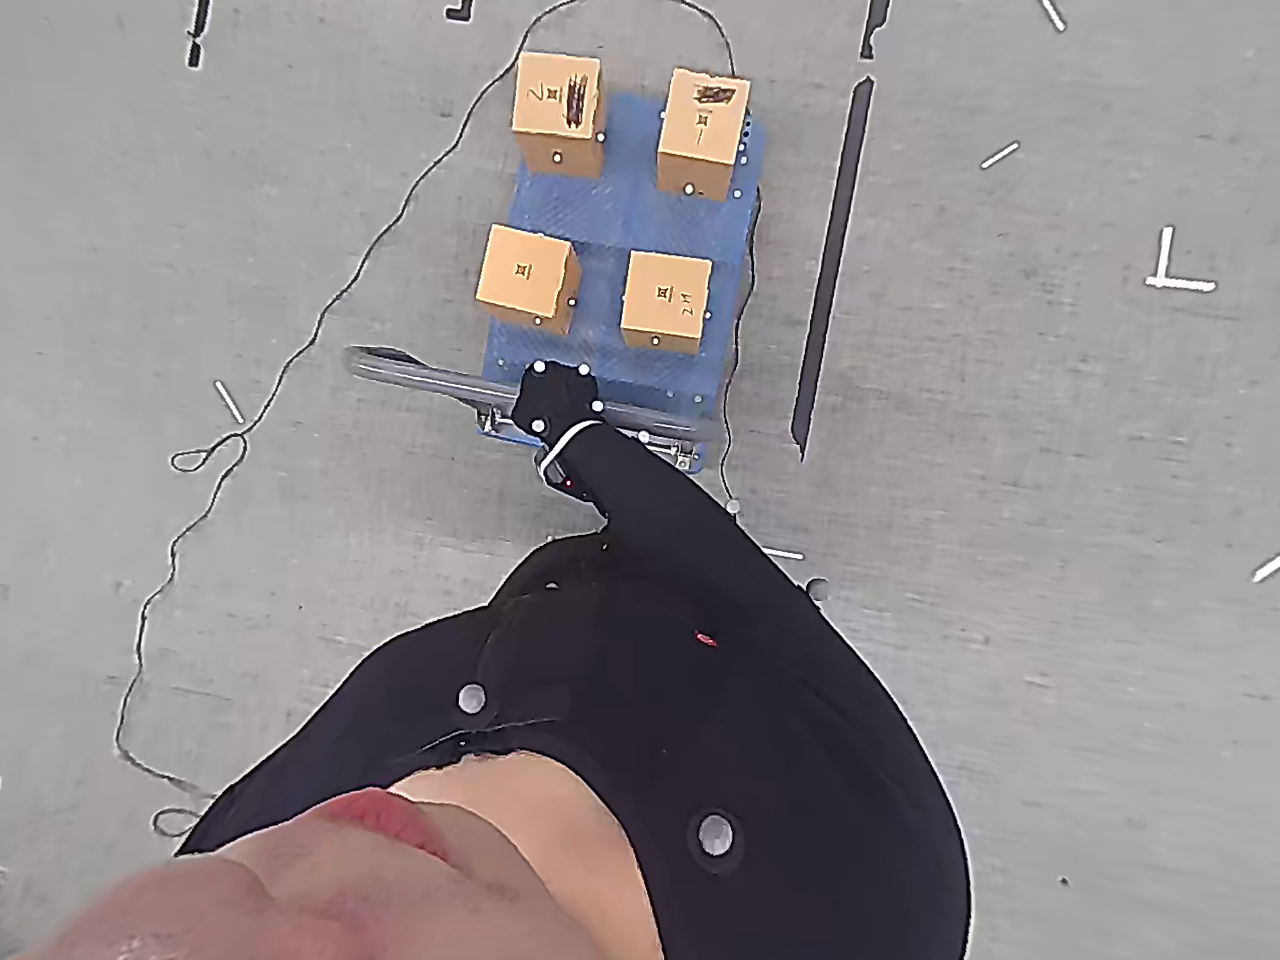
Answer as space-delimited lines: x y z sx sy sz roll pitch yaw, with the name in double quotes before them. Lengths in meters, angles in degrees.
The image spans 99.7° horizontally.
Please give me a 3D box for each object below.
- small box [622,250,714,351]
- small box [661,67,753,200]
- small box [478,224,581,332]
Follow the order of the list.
"small box" 0.062 -0.397 1.221 0.179 0.176 0.168 9 92 2
"small box" 0.141 -0.763 1.205 0.168 0.176 0.179 12 93 2
"small box" -0.243 -0.451 1.232 0.179 0.176 0.168 13 92 0
